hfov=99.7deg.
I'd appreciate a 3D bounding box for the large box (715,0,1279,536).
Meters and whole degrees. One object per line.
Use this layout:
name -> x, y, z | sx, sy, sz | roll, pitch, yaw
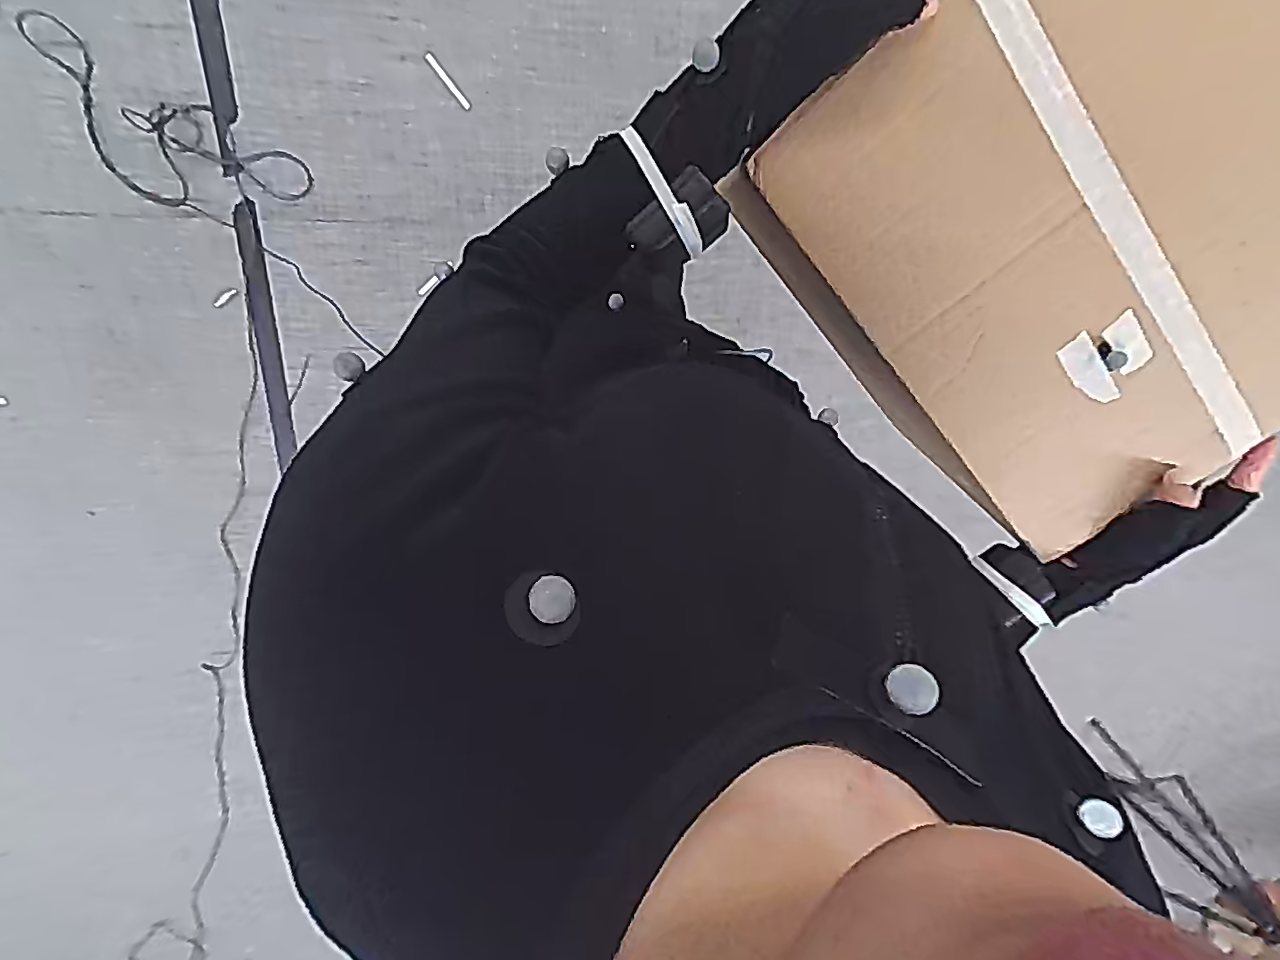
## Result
large box -> 0.321, -0.236, 0.499 | 0.320, 0.320, 0.408 | -39, 108, 20
